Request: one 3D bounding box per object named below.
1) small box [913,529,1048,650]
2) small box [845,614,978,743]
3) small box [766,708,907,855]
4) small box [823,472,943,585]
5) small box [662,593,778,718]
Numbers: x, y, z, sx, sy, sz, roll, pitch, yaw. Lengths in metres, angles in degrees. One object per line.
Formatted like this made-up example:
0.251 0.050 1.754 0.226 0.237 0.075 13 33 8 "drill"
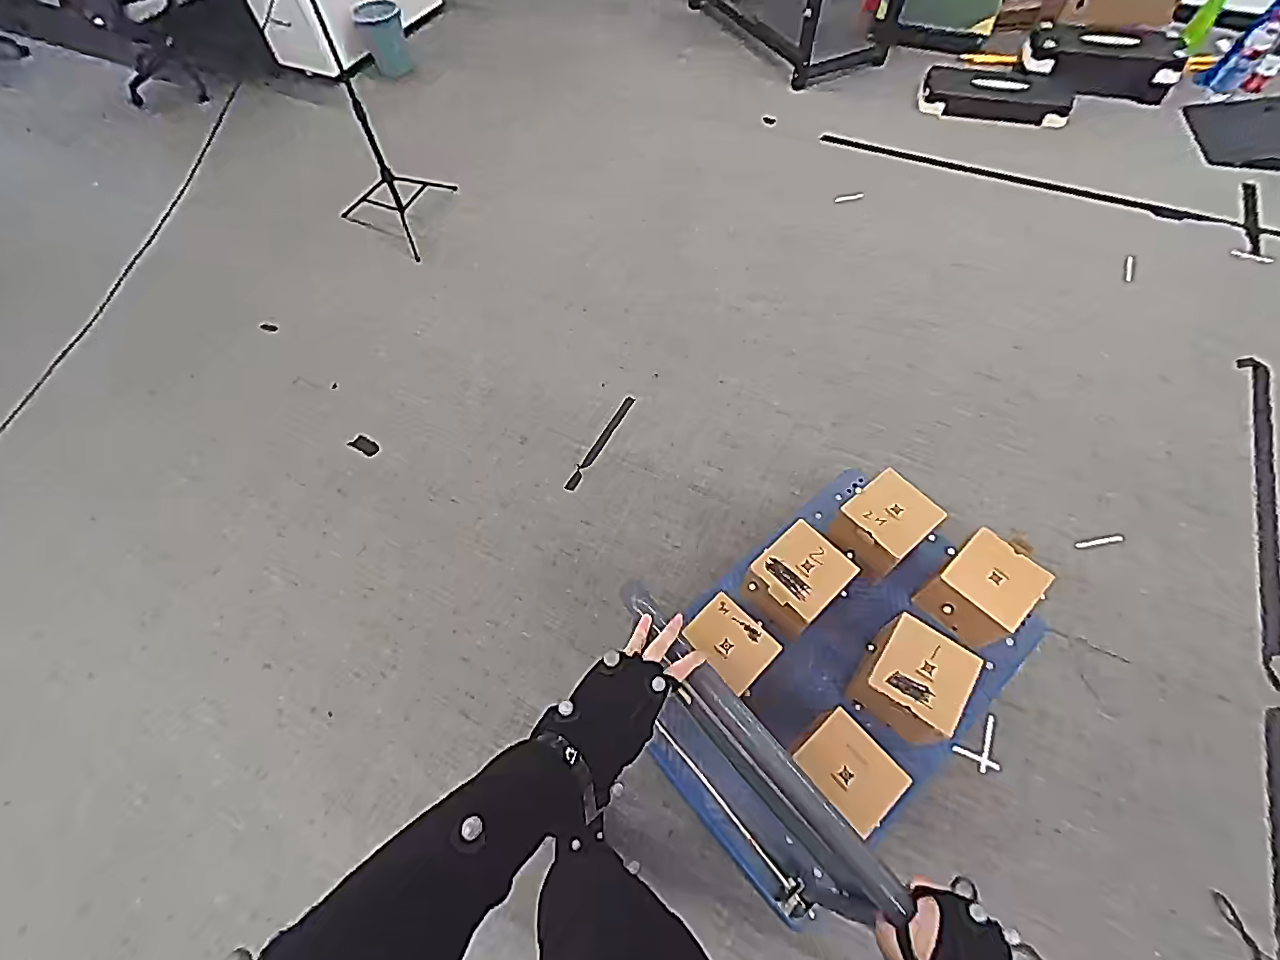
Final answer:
0.745 0.250 1.208 0.179 0.176 0.168 -39 66 -19 "small box"
0.548 0.415 1.116 0.168 0.176 0.179 33 65 19 "small box"
0.360 0.571 1.031 0.179 0.176 0.168 -36 66 -19 "small box"
0.566 0.119 1.286 0.179 0.176 0.168 -35 65 -16 "small box"
0.163 0.378 1.146 0.179 0.176 0.168 -40 67 -19 "small box"
